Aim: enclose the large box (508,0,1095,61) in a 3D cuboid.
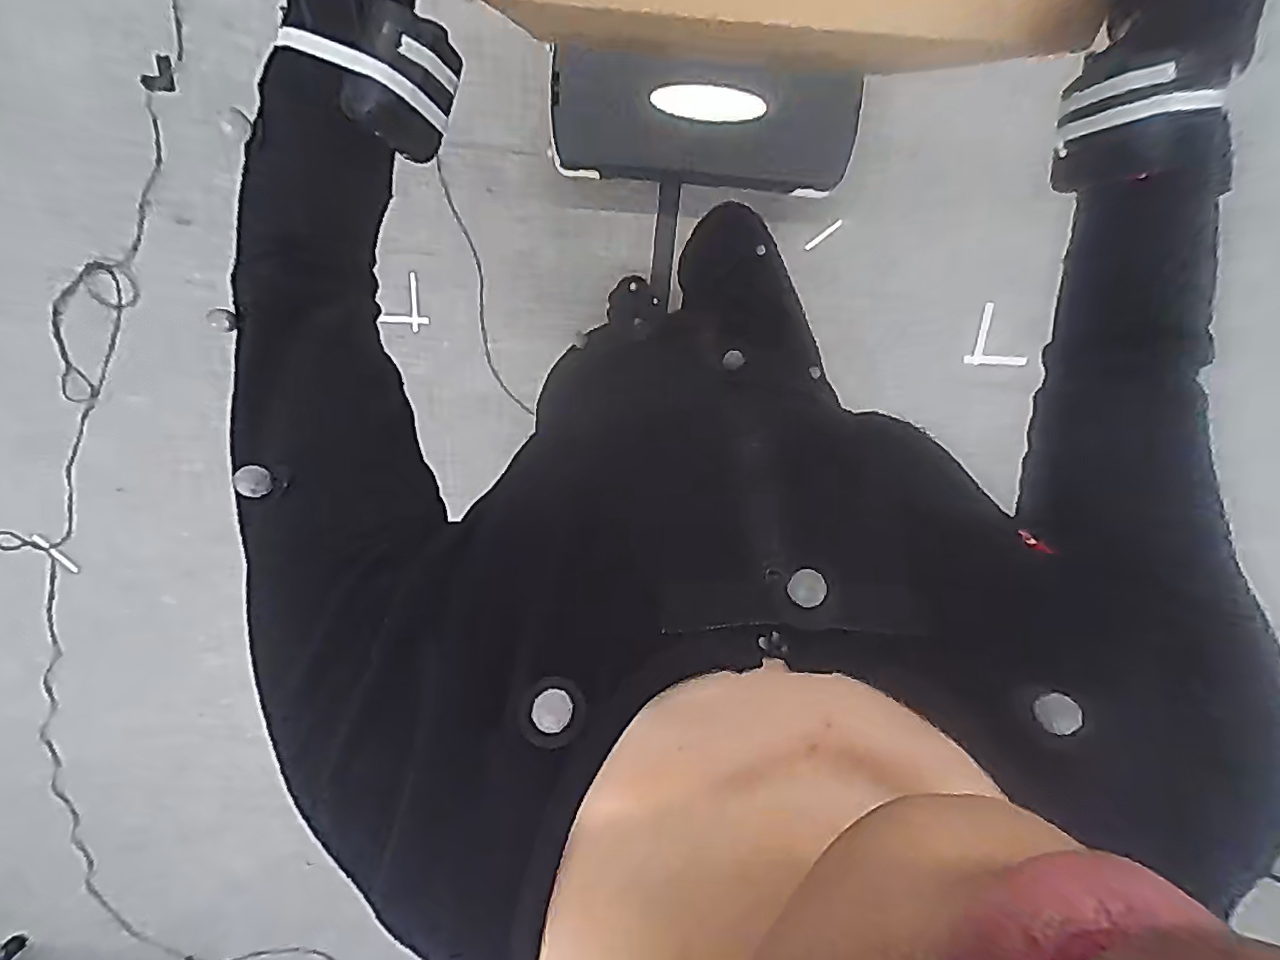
[{"bbox_3d":[0.099,-0.513,0.385,0.408,0.320,0.320,2,125,-4],"label":"large box"}]
